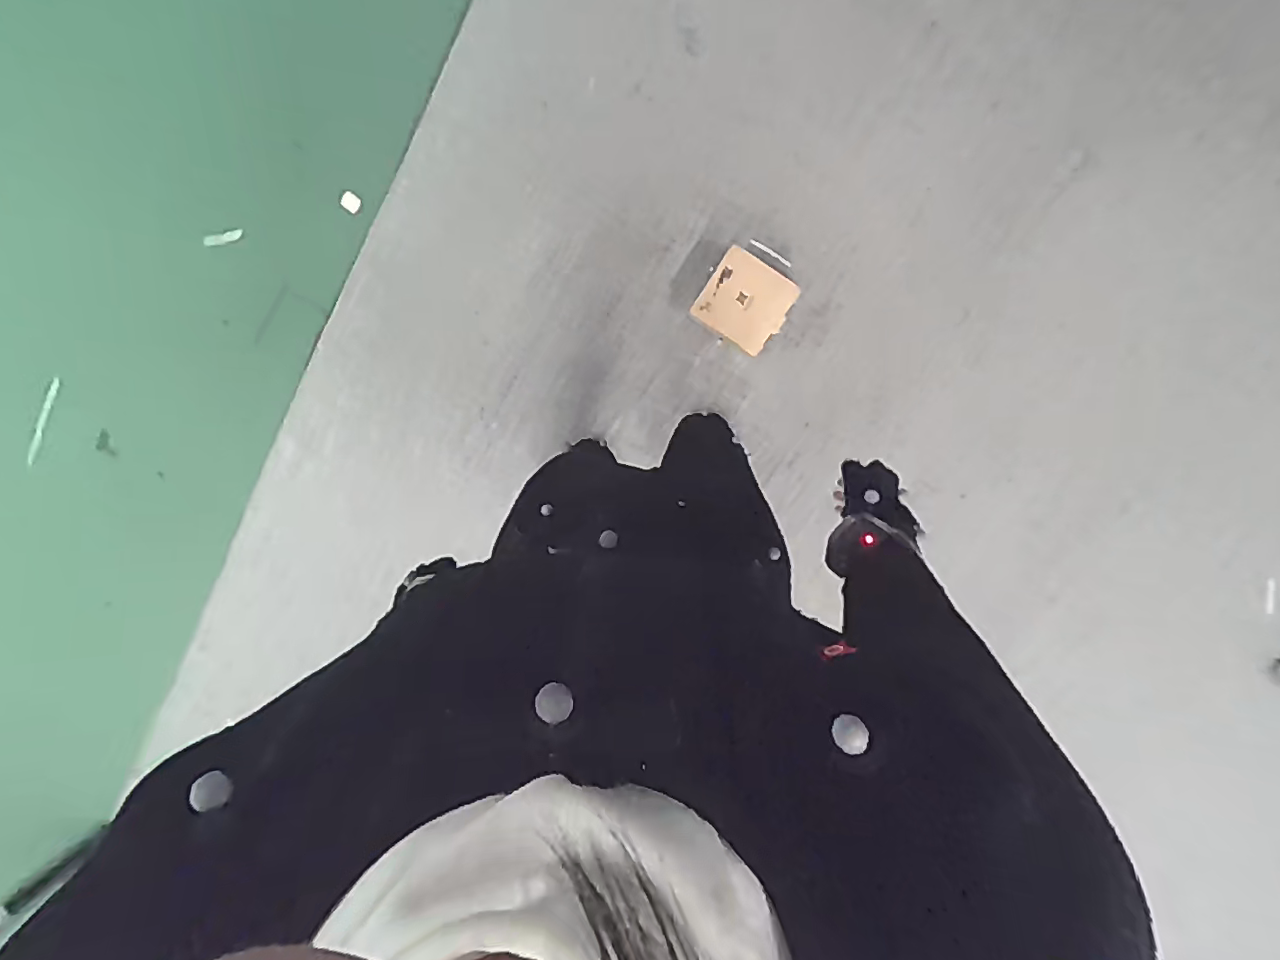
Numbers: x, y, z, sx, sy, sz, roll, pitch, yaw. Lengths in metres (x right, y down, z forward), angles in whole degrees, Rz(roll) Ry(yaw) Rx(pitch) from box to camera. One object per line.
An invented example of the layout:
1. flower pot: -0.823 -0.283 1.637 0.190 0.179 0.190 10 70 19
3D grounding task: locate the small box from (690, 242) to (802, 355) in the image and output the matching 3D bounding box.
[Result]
1. small box: 0.231 -0.399 1.211 0.179 0.176 0.168 35 104 -1
